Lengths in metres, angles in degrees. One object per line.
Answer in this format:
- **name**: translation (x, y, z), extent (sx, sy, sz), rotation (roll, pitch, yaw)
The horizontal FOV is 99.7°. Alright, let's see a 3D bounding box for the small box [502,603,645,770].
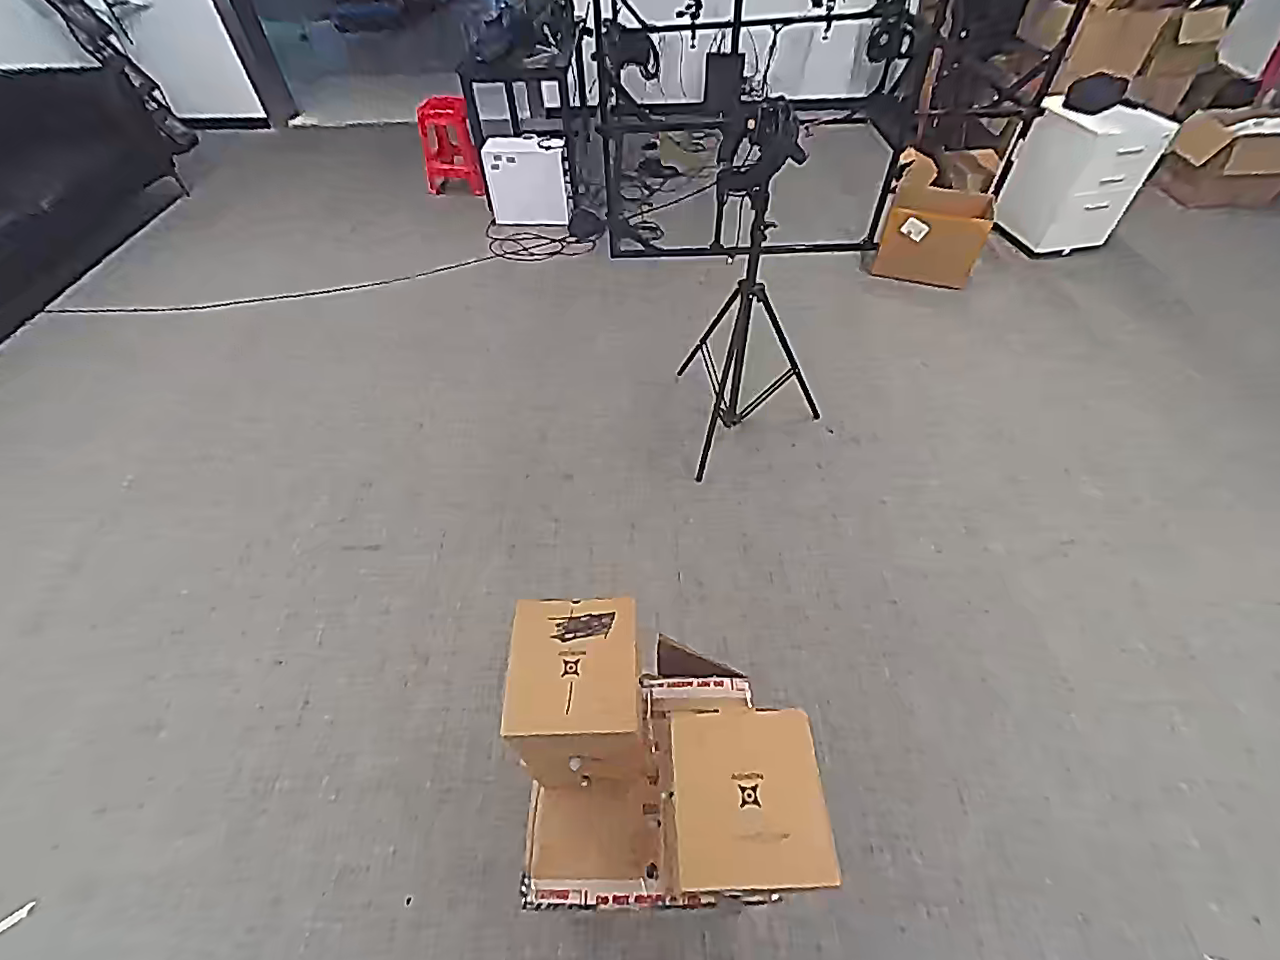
- **small box**: translation (-0.080, 0.289, 0.751), extent (0.168, 0.176, 0.179), rotation (-2, 52, 2)

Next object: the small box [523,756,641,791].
- **small box**: translation (-0.088, 0.389, 0.882), extent (0.168, 0.176, 0.179), rotation (-5, 52, 0)

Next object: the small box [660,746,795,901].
- **small box**: translation (0.113, 0.500, 0.784), extent (0.168, 0.176, 0.179), rotation (-1, 51, 0)
